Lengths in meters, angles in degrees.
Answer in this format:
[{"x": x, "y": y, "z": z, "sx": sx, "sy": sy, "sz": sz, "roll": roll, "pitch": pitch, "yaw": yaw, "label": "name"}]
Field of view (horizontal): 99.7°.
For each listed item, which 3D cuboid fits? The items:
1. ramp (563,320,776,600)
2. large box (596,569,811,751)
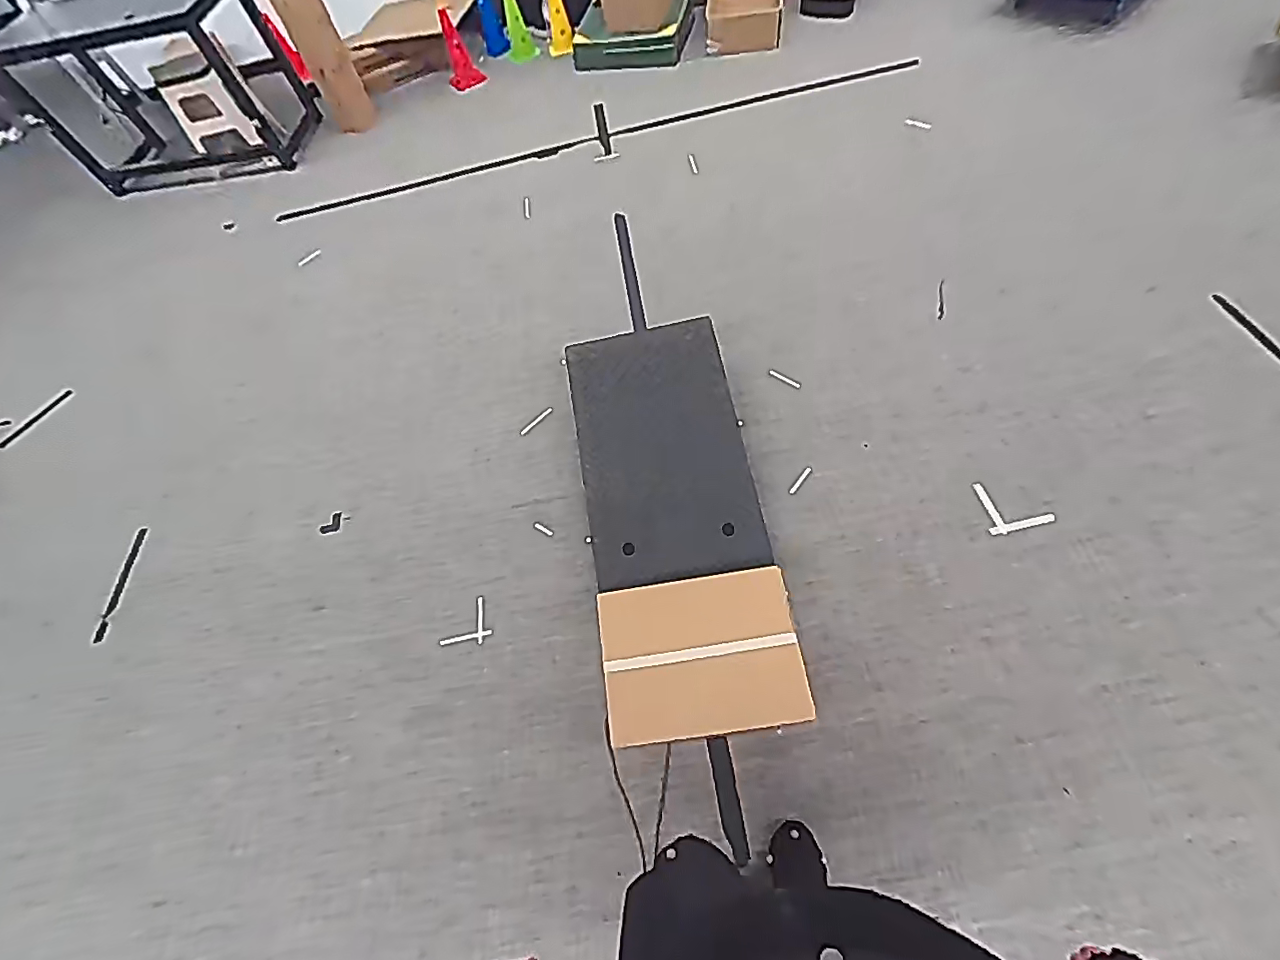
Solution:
[{"x": 0.067, "y": -0.022, "z": 1.607, "sx": 0.509, "sy": 0.206, "sz": 0.991, "roll": -12, "pitch": 59, "yaw": 1, "label": "ramp"}, {"x": 0.137, "y": 0.426, "z": 1.254, "sx": 0.408, "sy": 0.320, "sz": 0.320, "roll": -10, "pitch": 63, "yaw": 3, "label": "large box"}]
